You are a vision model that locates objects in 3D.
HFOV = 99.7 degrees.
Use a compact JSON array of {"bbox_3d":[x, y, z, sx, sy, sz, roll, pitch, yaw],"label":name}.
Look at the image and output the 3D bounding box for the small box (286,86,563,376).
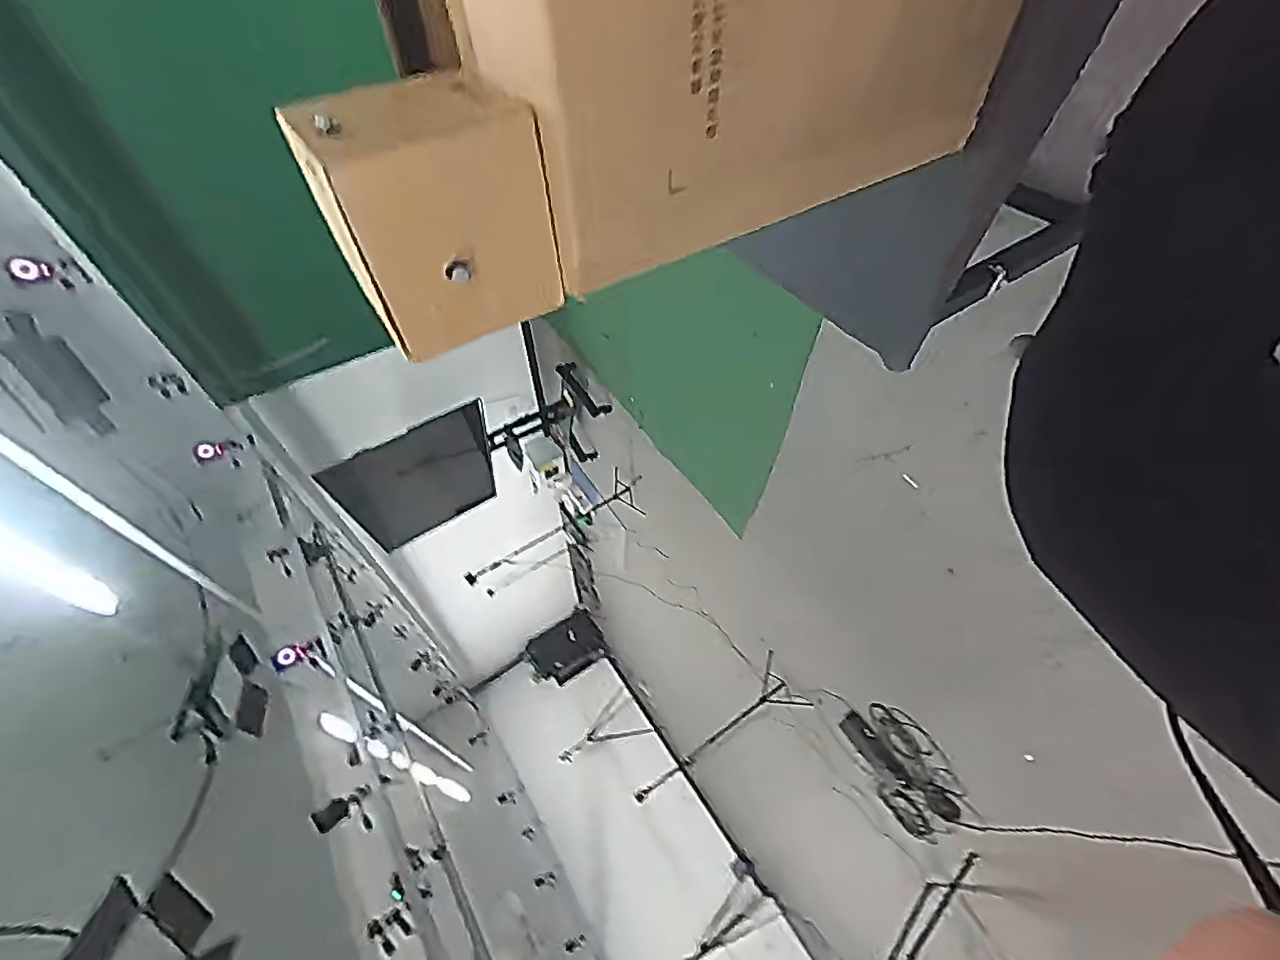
[{"bbox_3d":[-0.189,-0.238,0.516,0.168,0.176,0.179,47,157,33],"label":"small box"}]
